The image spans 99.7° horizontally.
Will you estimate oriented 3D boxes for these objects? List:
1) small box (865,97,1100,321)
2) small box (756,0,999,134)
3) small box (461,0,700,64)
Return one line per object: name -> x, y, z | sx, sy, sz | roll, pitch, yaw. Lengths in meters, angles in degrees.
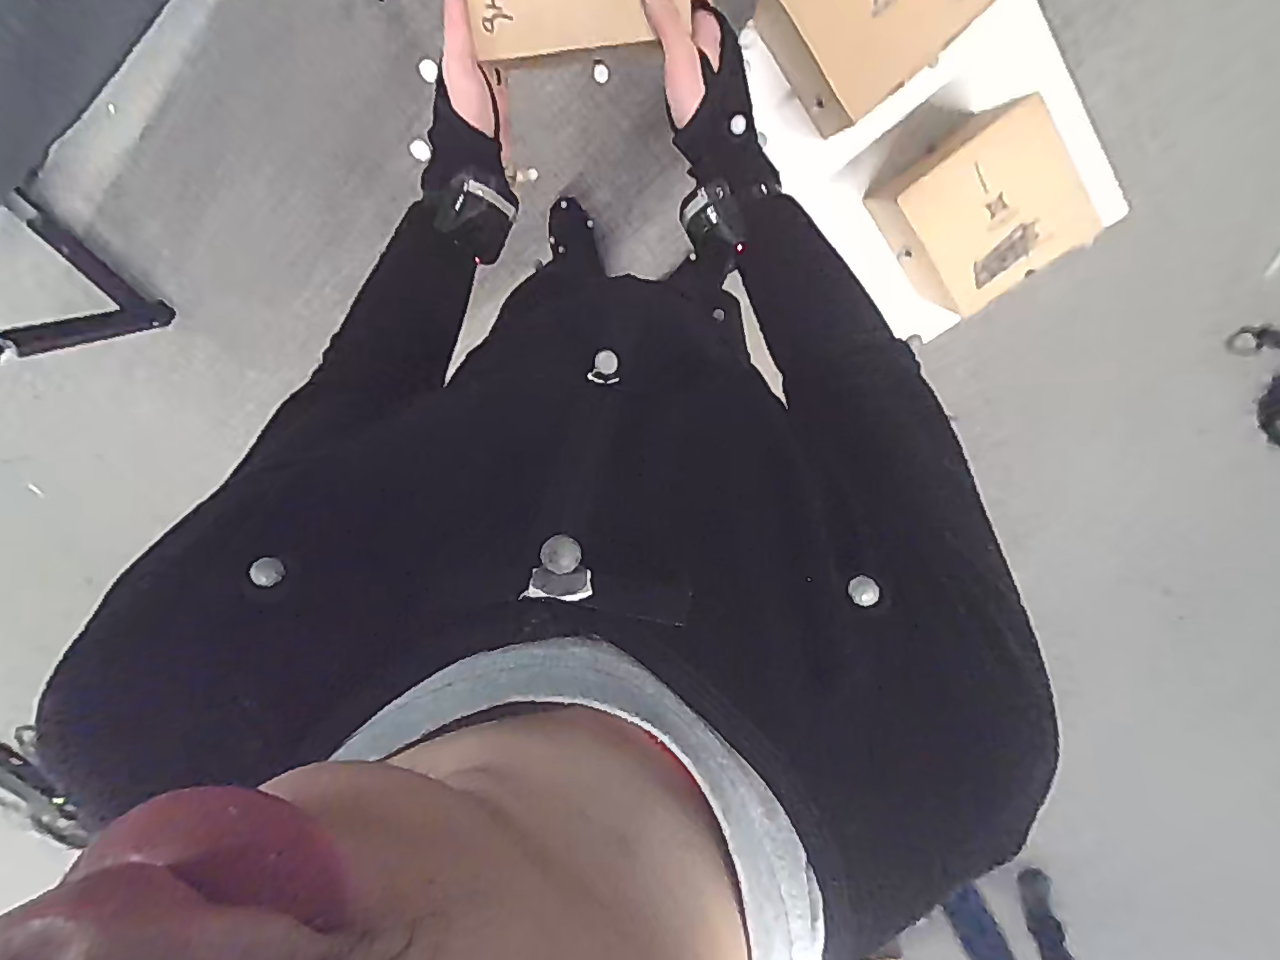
small box -> 0.419, -0.336, 0.690 | 0.168, 0.176, 0.179 | -34, 107, 20
small box -> 0.253, -0.529, 0.615 | 0.168, 0.176, 0.179 | -37, 107, 19
small box -> -0.048, -0.442, 0.426 | 0.179, 0.176, 0.168 | -3, 123, 3
